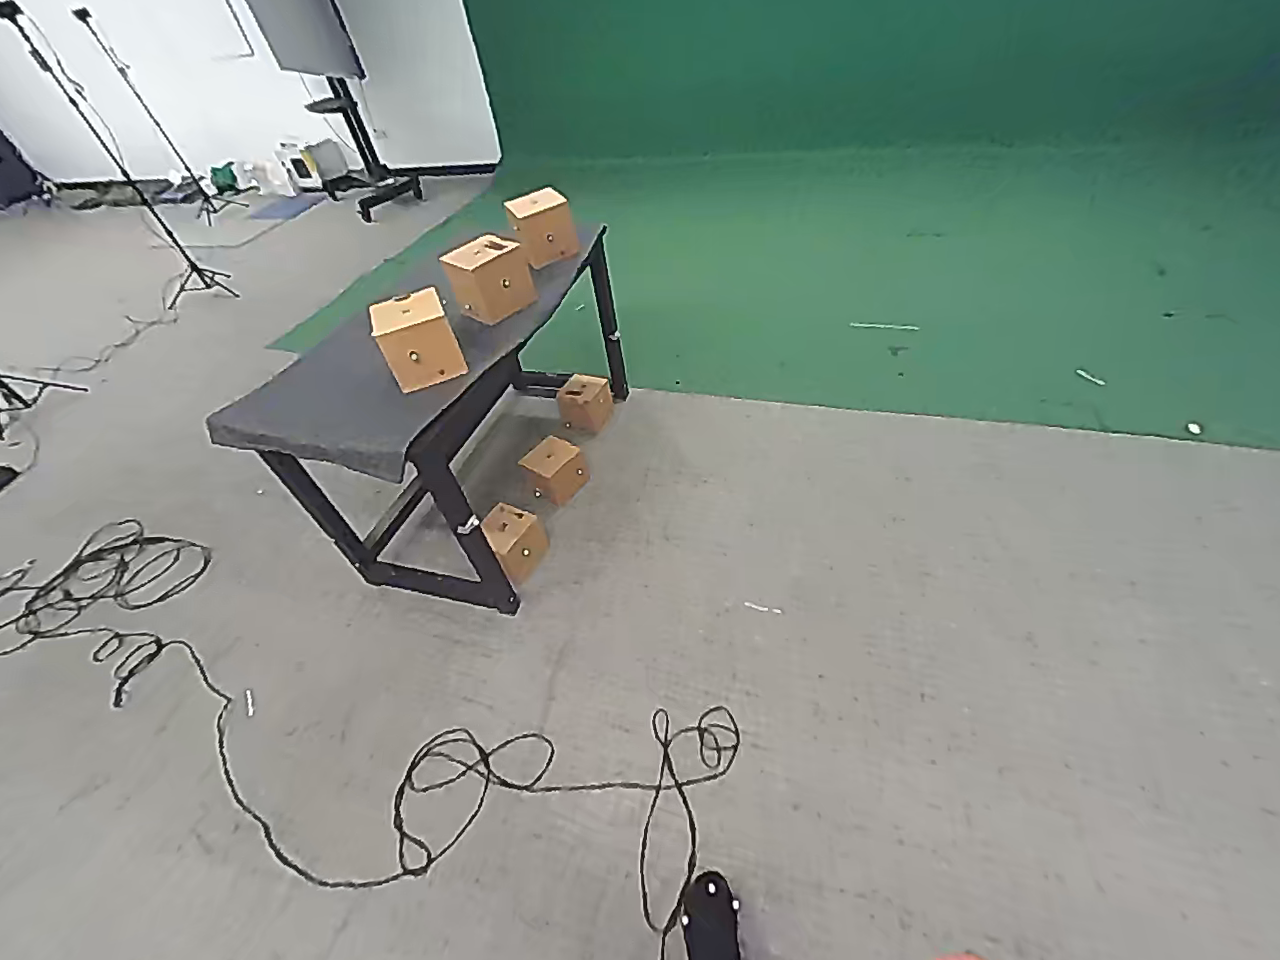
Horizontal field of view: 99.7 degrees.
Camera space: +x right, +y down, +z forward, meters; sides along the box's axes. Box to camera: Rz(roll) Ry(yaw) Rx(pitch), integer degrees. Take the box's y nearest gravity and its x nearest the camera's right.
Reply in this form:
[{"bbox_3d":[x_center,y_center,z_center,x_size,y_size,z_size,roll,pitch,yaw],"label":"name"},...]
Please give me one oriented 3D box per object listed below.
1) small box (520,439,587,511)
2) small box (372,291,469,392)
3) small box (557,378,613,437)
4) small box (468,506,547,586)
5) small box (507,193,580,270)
[{"bbox_3d":[-0.316,-0.017,2.026,0.168,0.176,0.179,25,55,31],"label":"small box"},{"bbox_3d":[-0.545,-0.338,1.350,0.168,0.176,0.179,-22,46,-13],"label":"small box"},{"bbox_3d":[-0.228,-0.306,2.298,0.168,0.176,0.179,13,48,20],"label":"small box"},{"bbox_3d":[-0.434,0.224,1.805,0.168,0.176,0.179,18,52,25],"label":"small box"},{"bbox_3d":[-0.313,-0.810,1.773,0.168,0.176,0.179,-25,46,-12],"label":"small box"}]
